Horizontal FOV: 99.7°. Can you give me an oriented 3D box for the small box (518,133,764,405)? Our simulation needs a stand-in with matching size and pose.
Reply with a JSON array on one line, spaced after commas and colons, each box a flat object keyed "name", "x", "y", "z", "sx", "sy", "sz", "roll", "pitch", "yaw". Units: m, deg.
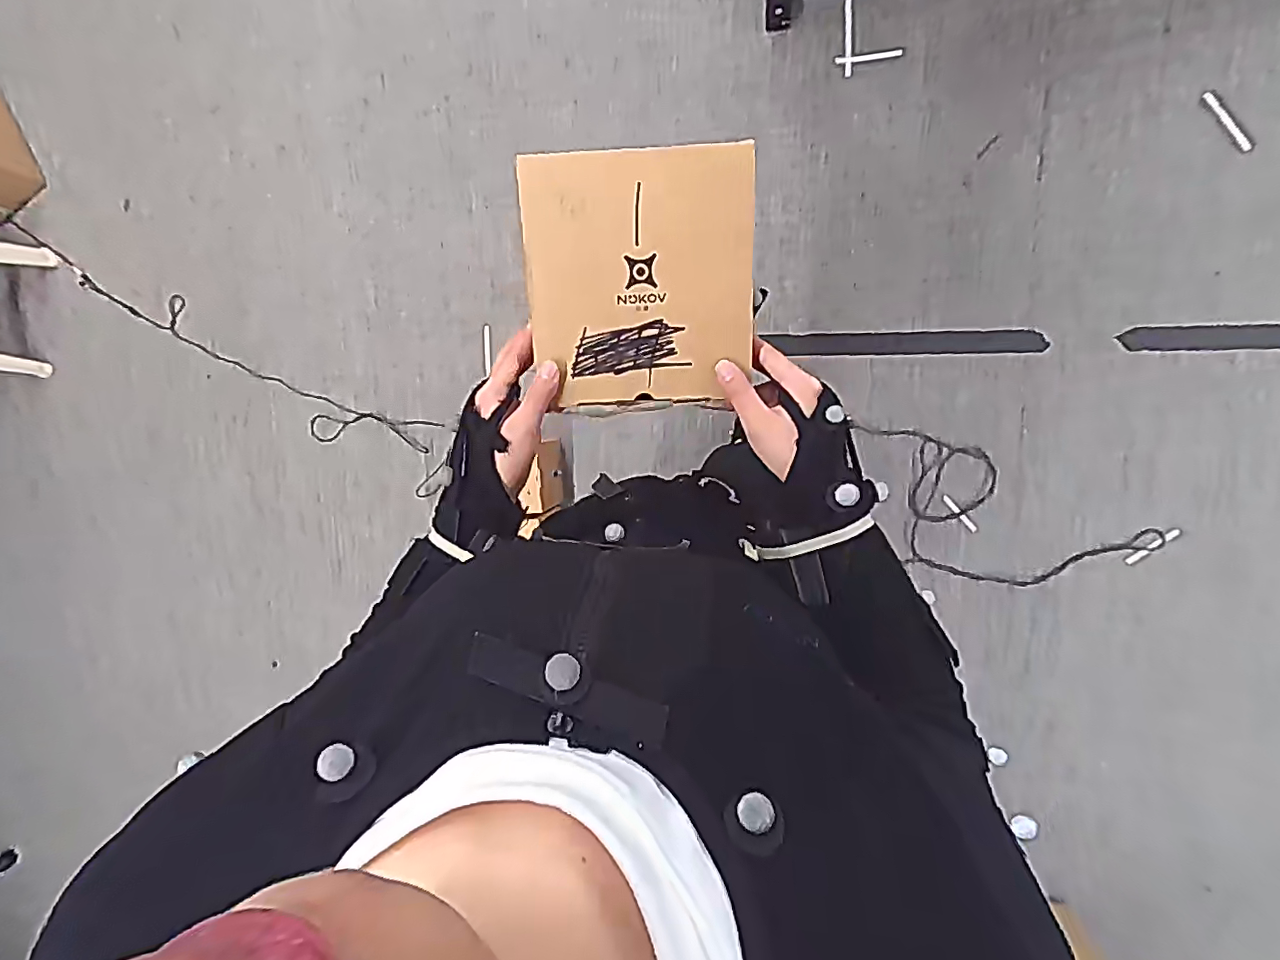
[{"name": "small box", "x": 0.005, "y": -0.164, "z": 0.455, "sx": 0.168, "sy": 0.176, "sz": 0.179, "roll": -2, "pitch": 106, "yaw": 2}]
